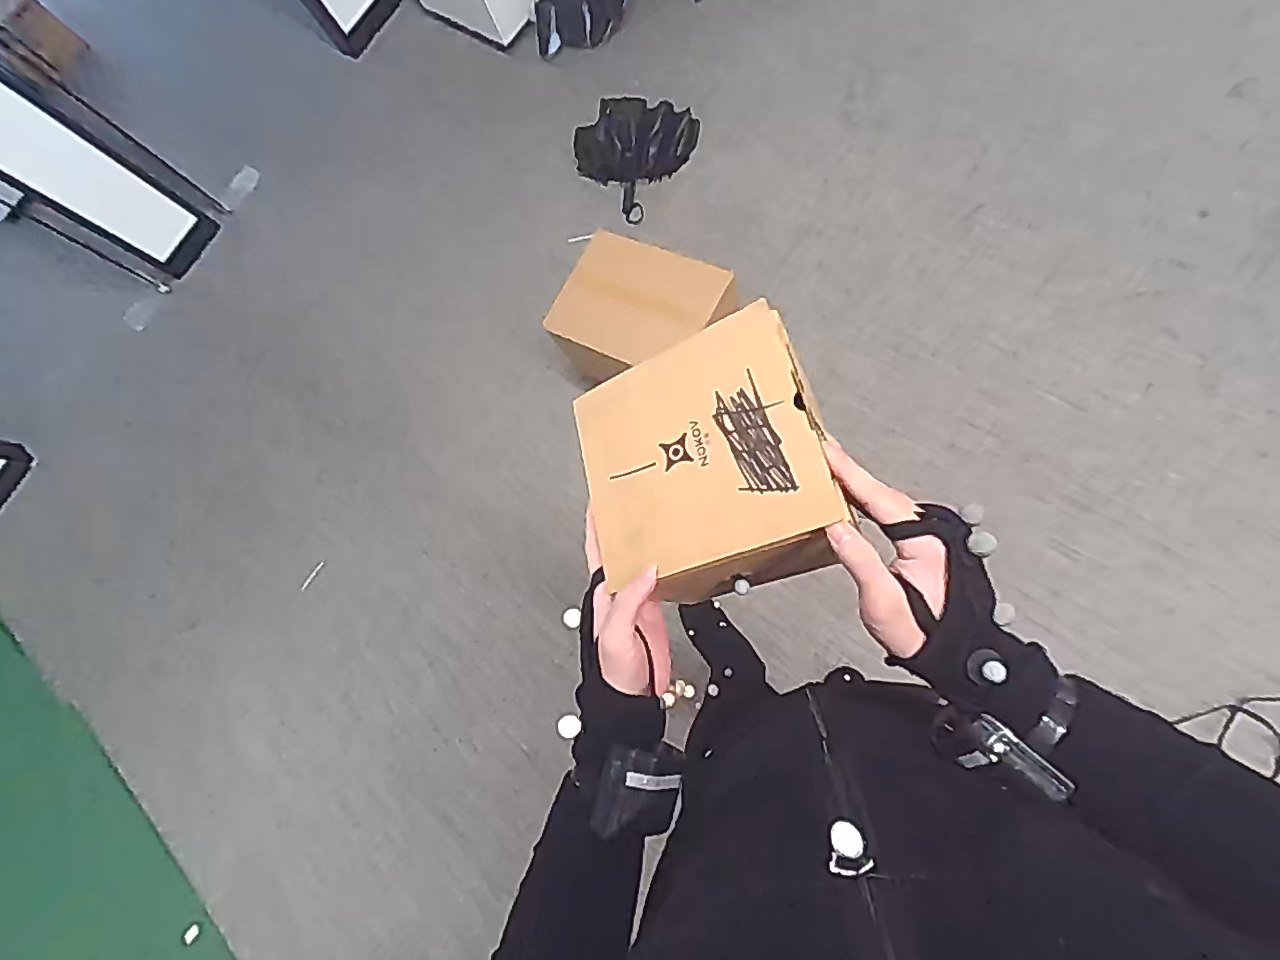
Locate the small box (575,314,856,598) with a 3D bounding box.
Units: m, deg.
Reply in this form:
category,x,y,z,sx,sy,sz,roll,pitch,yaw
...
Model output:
category,x,y,z,sx,sy,sz,roll,pitch,yaw
small box,0.072,-0.002,0.460,0.179,0.176,0.168,-21,68,21
